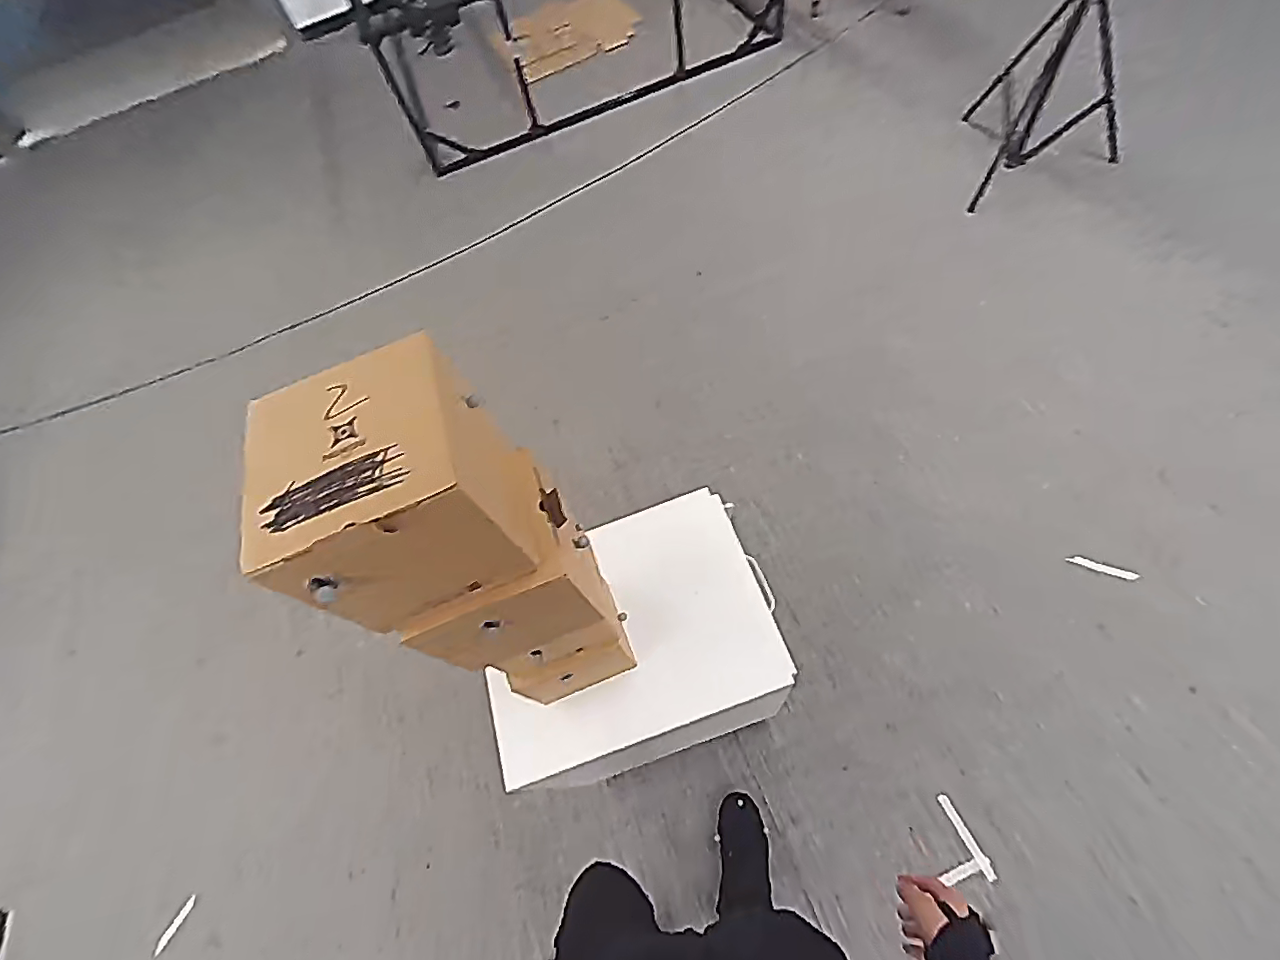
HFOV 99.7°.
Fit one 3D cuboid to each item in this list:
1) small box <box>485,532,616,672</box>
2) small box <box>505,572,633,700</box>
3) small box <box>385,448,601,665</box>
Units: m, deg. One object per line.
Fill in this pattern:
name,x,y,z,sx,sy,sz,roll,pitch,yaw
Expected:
small box,-0.145,0.162,0.780,0.168,0.176,0.179,-21,59,-2
small box,-0.128,0.255,0.913,0.179,0.176,0.168,-22,60,-3
small box,-0.164,0.098,0.629,0.179,0.176,0.168,-21,60,-2
